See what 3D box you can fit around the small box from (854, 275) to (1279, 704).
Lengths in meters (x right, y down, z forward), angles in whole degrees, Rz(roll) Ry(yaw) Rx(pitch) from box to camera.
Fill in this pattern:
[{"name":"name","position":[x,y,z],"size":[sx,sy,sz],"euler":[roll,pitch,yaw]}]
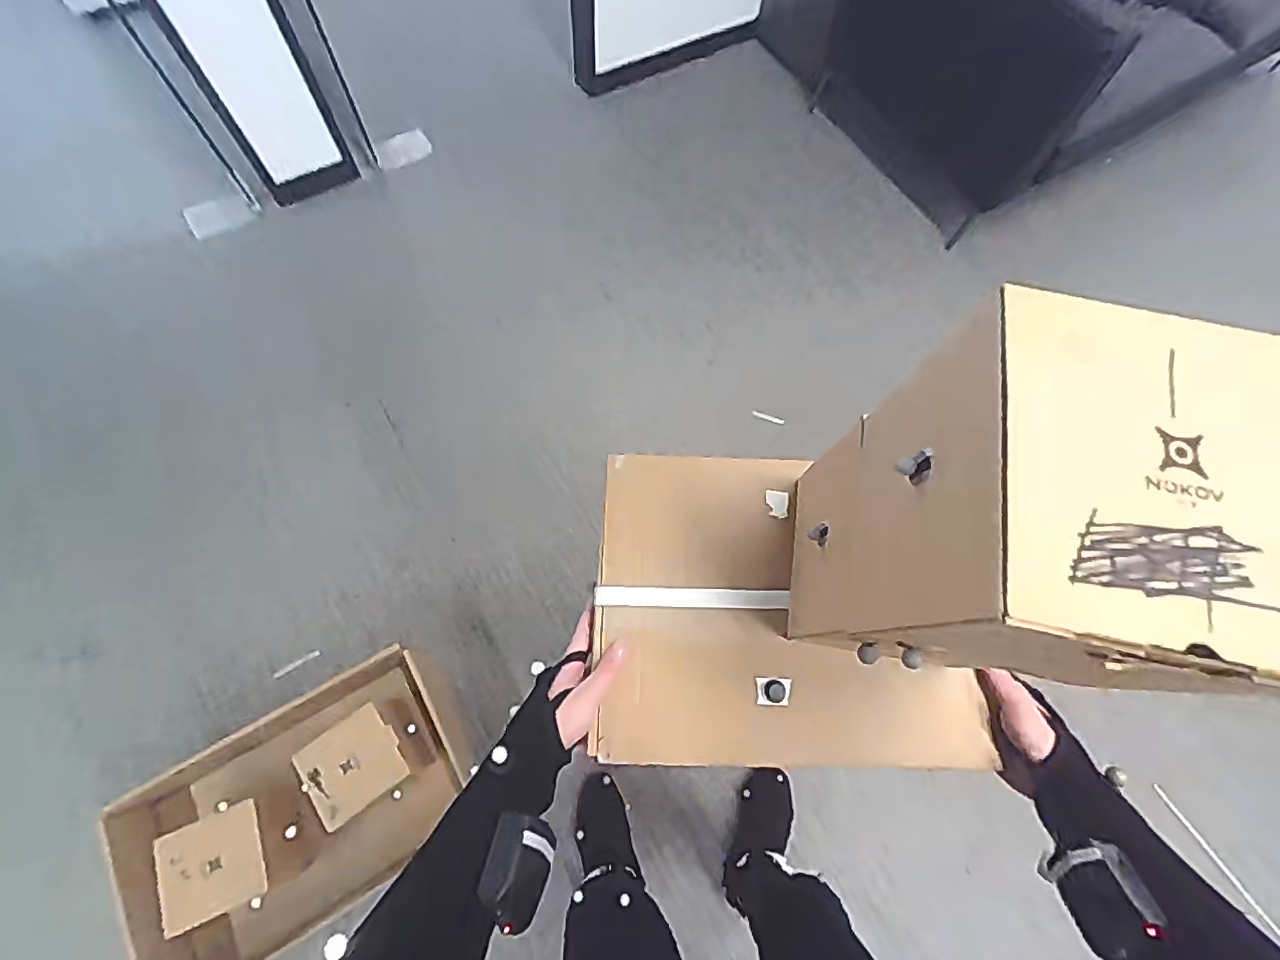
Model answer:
[{"name":"small box","position":[0.238,0.021,0.310],"size":[0.168,0.176,0.179],"euler":[12,70,2]}]
